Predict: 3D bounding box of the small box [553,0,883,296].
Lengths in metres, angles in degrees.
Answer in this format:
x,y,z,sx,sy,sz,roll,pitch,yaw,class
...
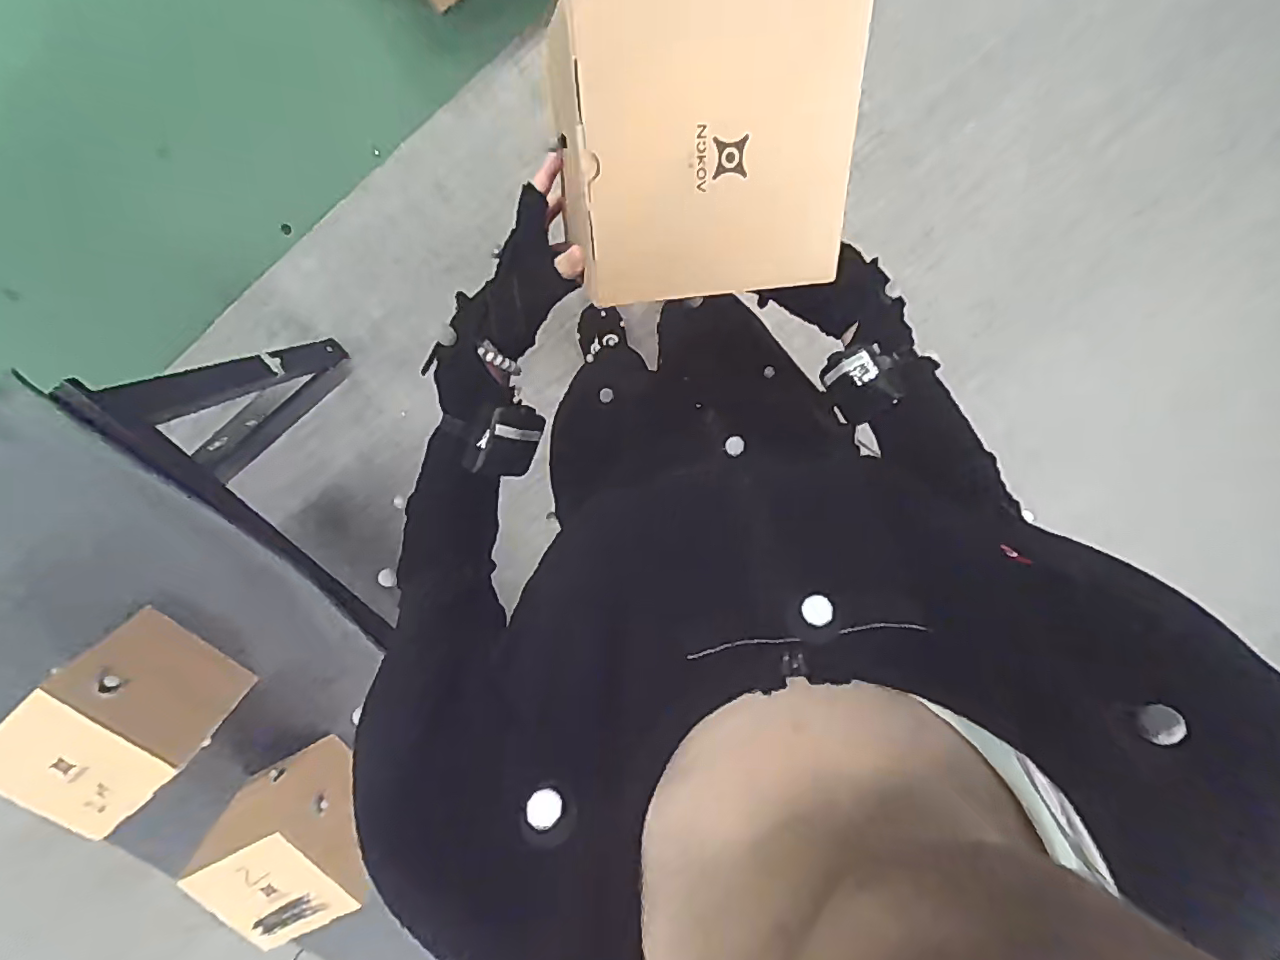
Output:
x,y,z,sx,sy,sz,roll,pitch,yaw,class
0.038,-0.245,0.393,0.179,0.176,0.168,-9,124,-8,small box

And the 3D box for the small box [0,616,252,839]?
x,y,z,sx,sy,sz,roll,pitch,yaw,class
-0.667,0.303,0.699,0.168,0.176,0.179,-39,109,9,small box
